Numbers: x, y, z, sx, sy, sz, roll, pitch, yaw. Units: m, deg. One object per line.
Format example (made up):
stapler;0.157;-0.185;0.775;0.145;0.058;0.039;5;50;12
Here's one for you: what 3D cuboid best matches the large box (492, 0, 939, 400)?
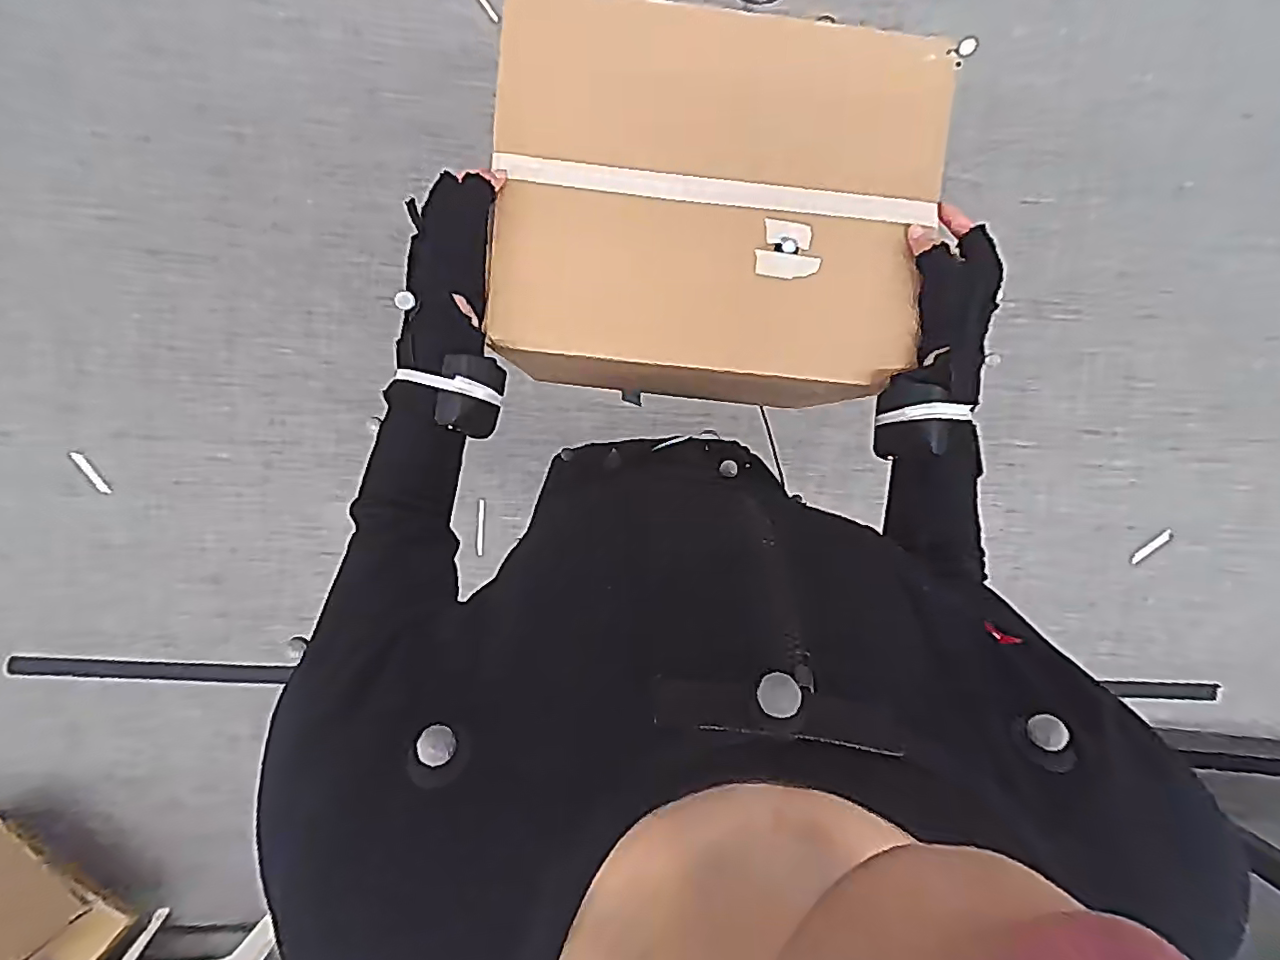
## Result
large box;0.061;-0.277;0.652;0.408;0.320;0.320;6;95;-3
